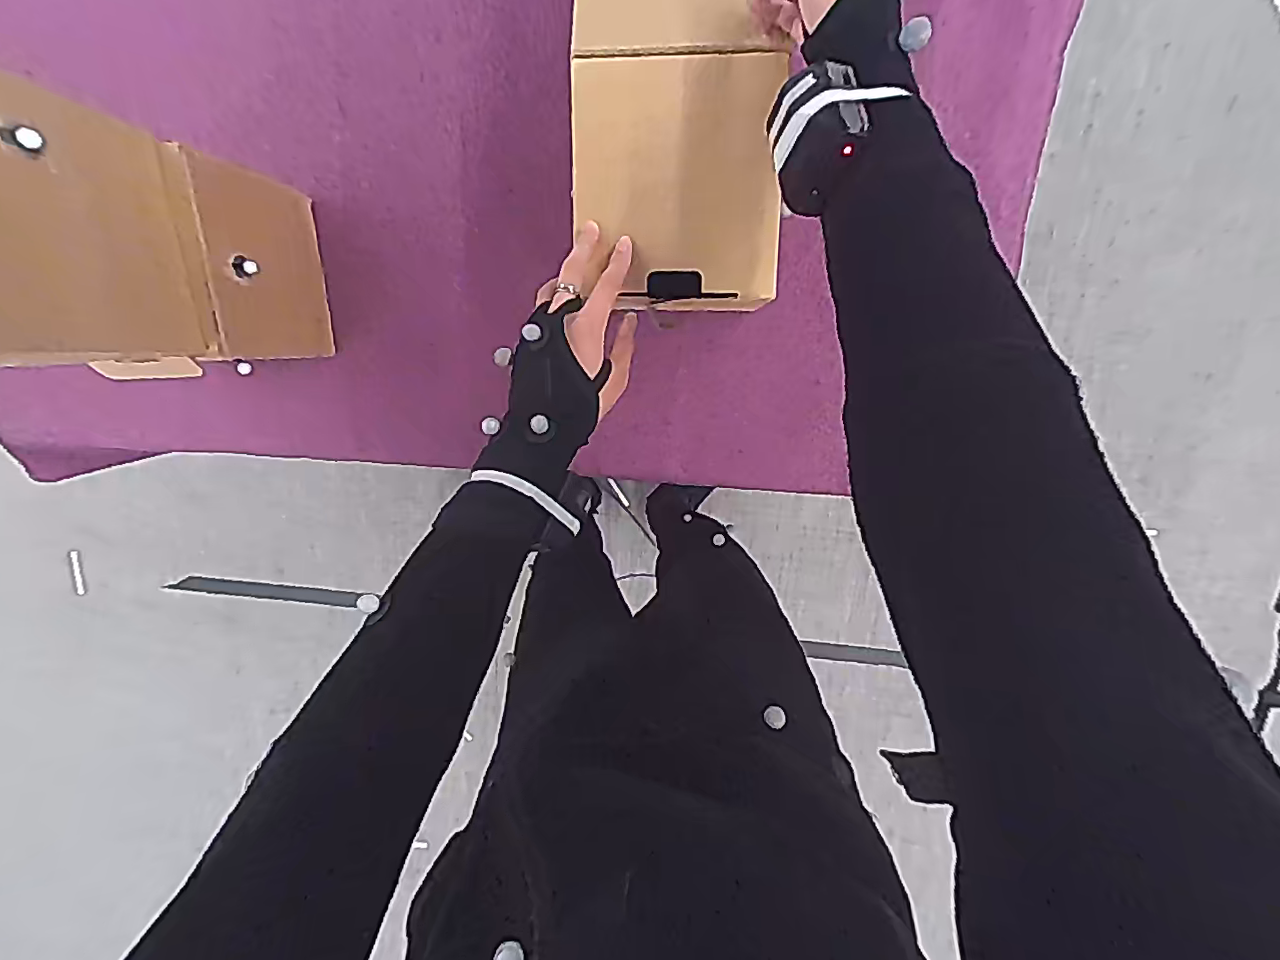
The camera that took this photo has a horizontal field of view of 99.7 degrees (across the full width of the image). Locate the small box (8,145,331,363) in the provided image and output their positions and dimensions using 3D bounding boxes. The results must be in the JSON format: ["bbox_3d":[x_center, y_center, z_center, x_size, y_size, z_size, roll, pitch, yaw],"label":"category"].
[{"bbox_3d":[-0.445,-0.212,0.548,0.168,0.176,0.179,0,104,4],"label":"small box"}]
